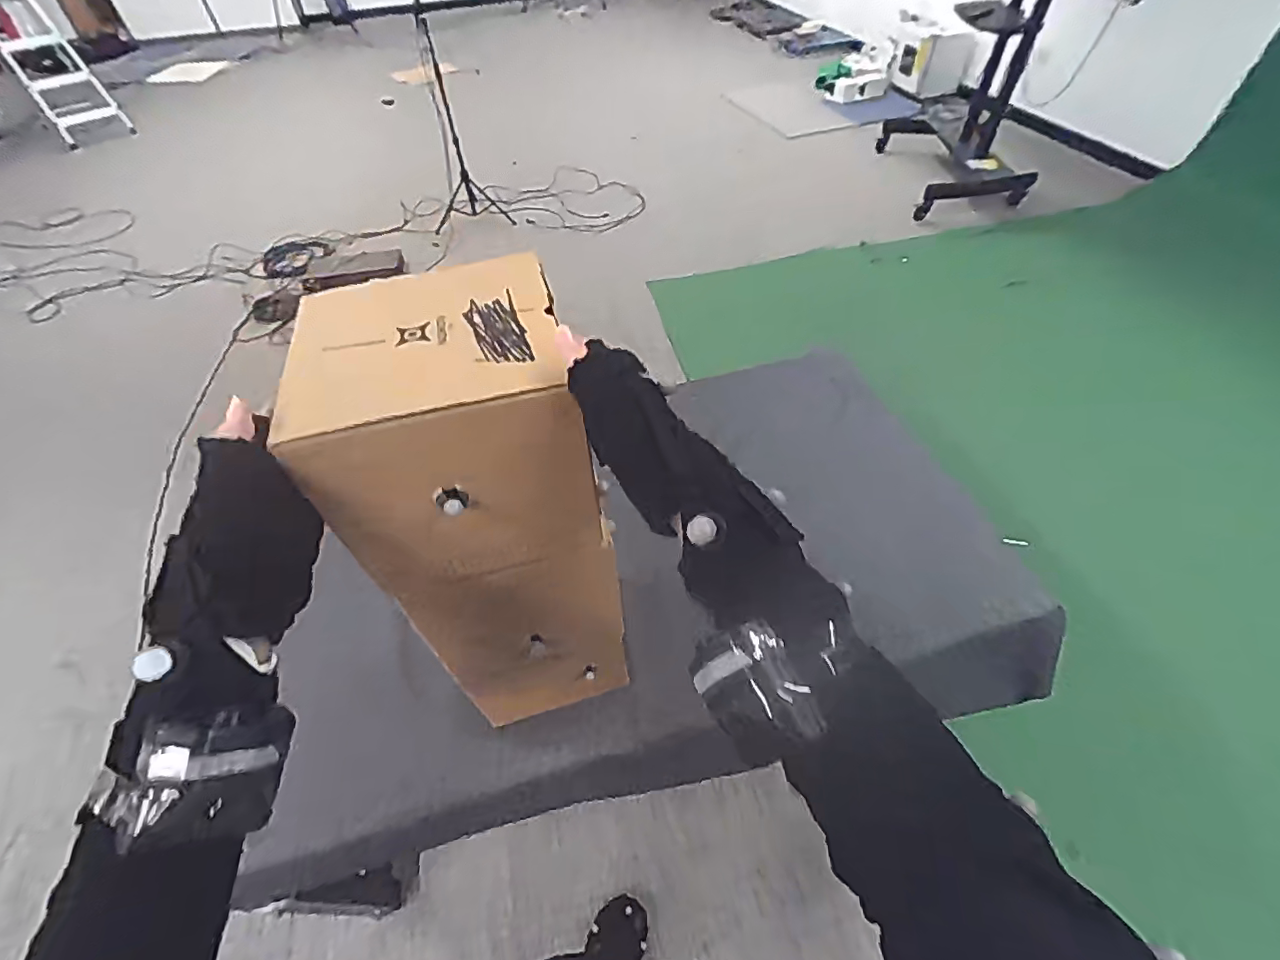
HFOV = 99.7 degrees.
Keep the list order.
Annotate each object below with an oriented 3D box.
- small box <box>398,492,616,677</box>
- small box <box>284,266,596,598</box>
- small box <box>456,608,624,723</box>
[{"bbox_3d":[-0.125,0.072,0.543,0.179,0.176,0.168,-14,50,-9],"label":"small box"},{"bbox_3d":[-0.135,-0.035,0.418,0.179,0.176,0.168,-15,51,-12],"label":"small box"},{"bbox_3d":[-0.121,0.174,0.671,0.179,0.176,0.168,-15,50,-8],"label":"small box"}]
